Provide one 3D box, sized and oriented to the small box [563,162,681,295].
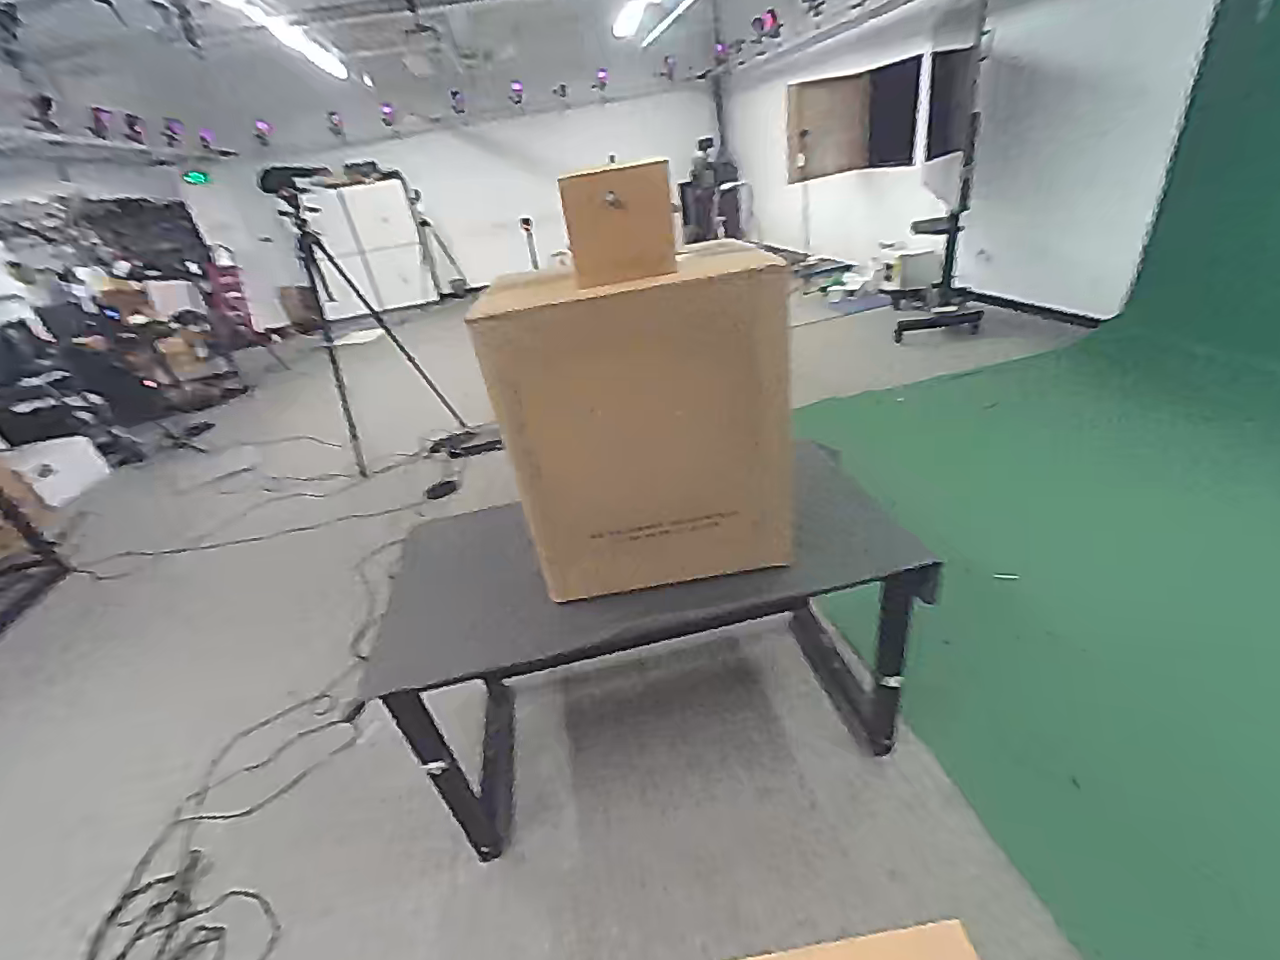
[{"bbox_3d":[-0.025,-0.431,0.926,0.179,0.176,0.168,-9,33,2],"label":"small box"}]
